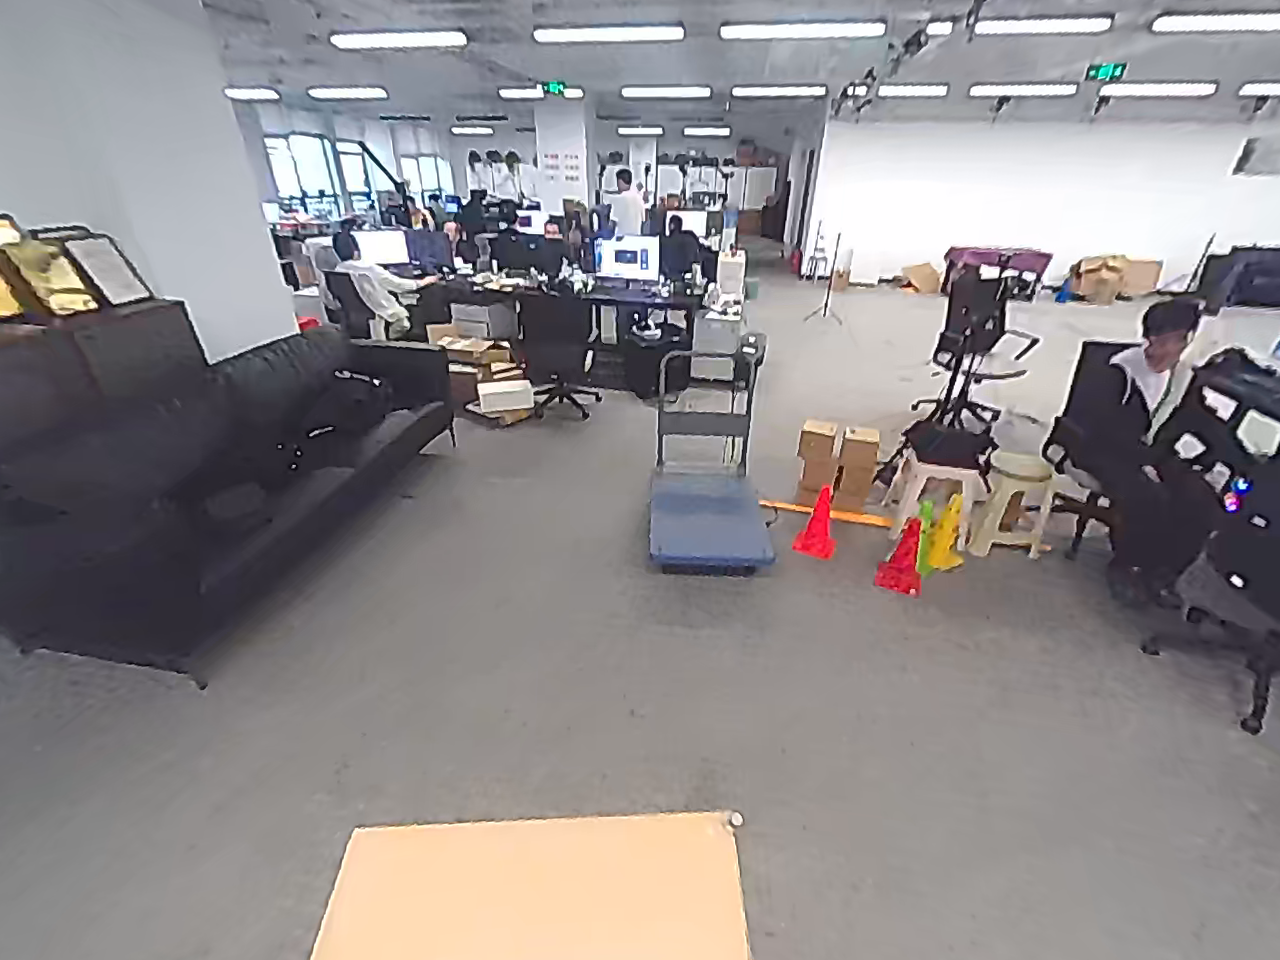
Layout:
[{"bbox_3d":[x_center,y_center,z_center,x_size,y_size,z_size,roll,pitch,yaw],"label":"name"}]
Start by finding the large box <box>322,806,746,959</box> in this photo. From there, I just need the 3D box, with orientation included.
[{"bbox_3d":[-0.099,0.583,0.574,0.408,0.320,0.320,-2,42,-2],"label":"large box"}]
